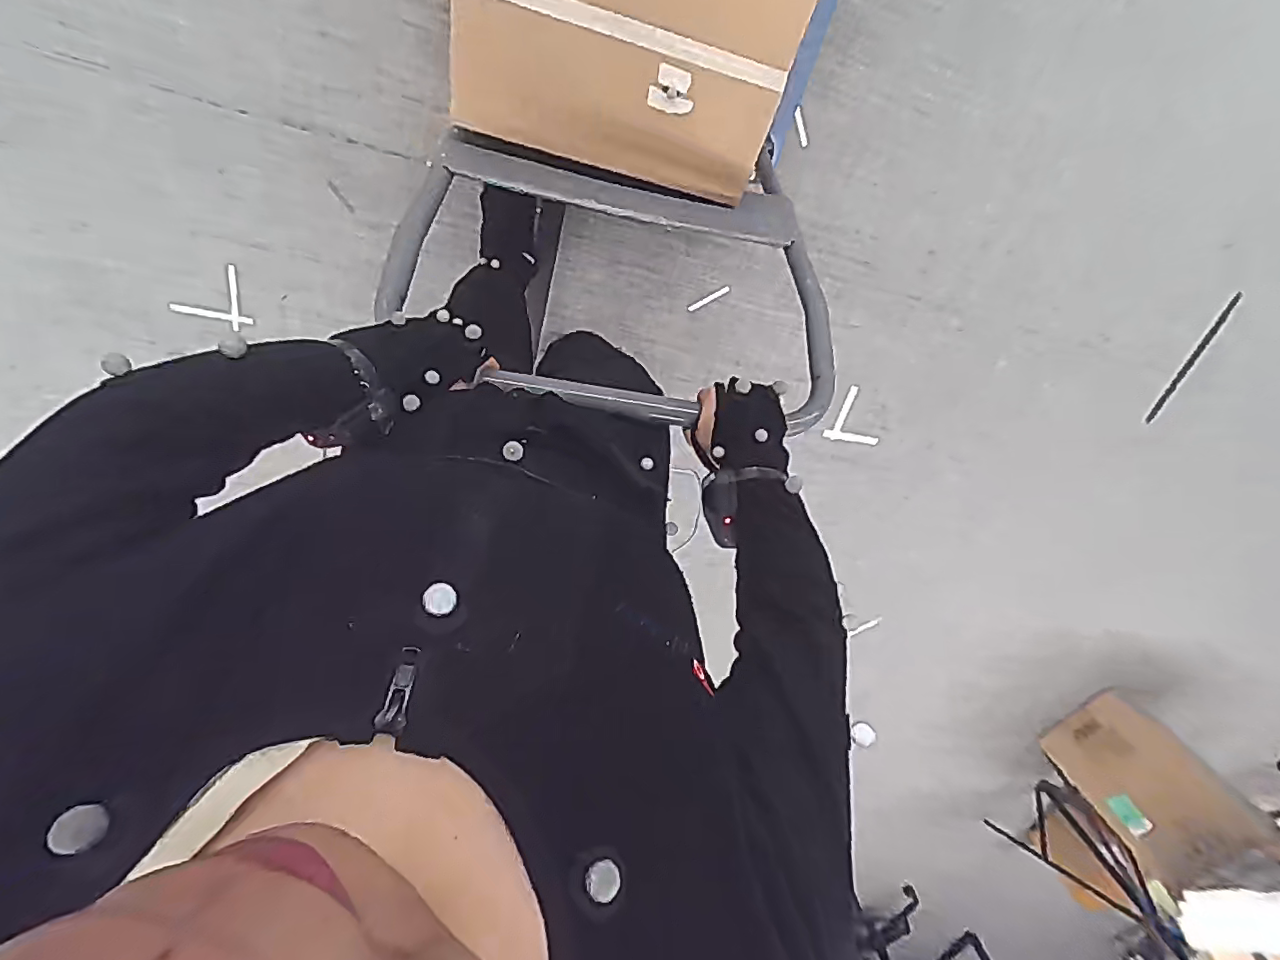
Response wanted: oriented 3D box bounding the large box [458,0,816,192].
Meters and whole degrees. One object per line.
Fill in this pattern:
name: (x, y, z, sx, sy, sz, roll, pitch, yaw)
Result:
large box: (-0.013, -0.649, 0.727, 0.408, 0.320, 0.320, 9, 138, -13)
